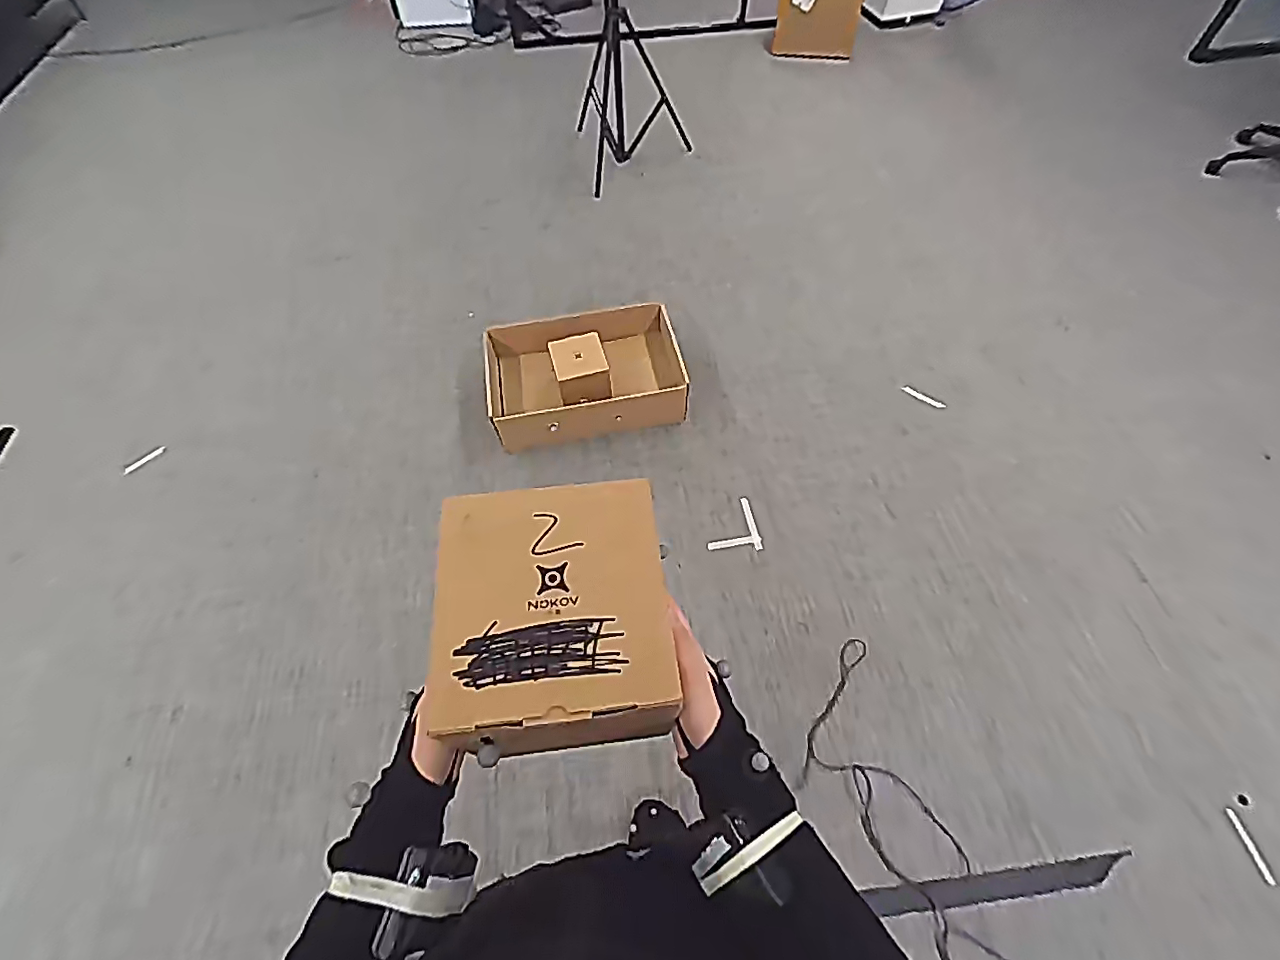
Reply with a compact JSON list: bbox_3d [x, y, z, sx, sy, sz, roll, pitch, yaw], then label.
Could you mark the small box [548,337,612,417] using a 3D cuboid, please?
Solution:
[{"bbox_3d":[-0.195,-0.336,1.774,0.168,0.176,0.179,-15,60,-7],"label":"small box"}]
